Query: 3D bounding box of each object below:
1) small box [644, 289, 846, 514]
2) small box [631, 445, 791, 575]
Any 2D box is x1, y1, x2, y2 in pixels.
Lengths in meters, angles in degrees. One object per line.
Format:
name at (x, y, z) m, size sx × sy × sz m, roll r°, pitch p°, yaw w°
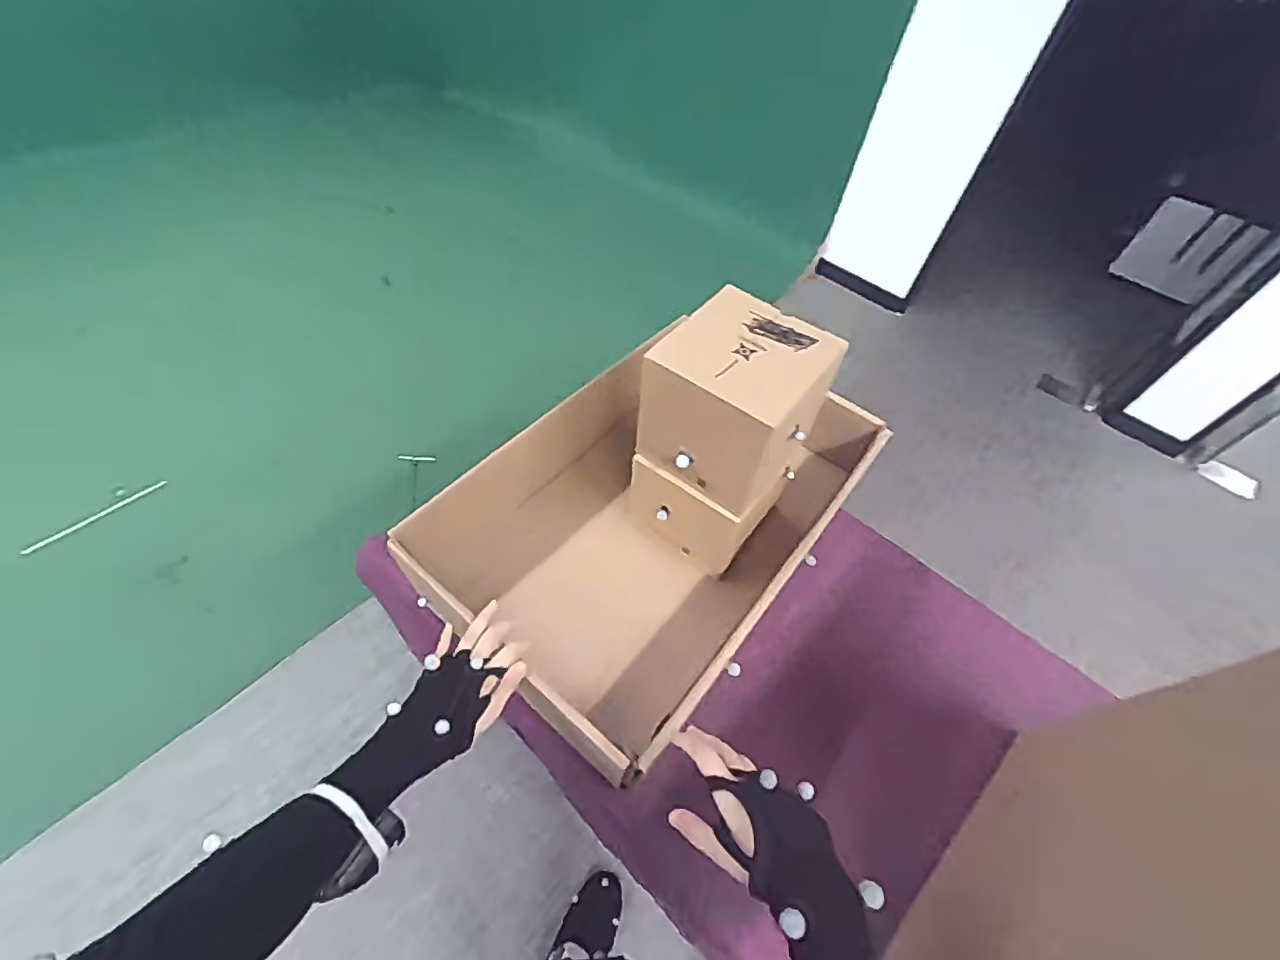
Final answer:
small box at (0.116, -0.094, 0.663) m, size 0.168 × 0.176 × 0.179 m, roll 34°, pitch 59°, yaw 20°
small box at (0.101, 0.007, 0.791) m, size 0.168 × 0.176 × 0.179 m, roll 33°, pitch 57°, yaw 19°
